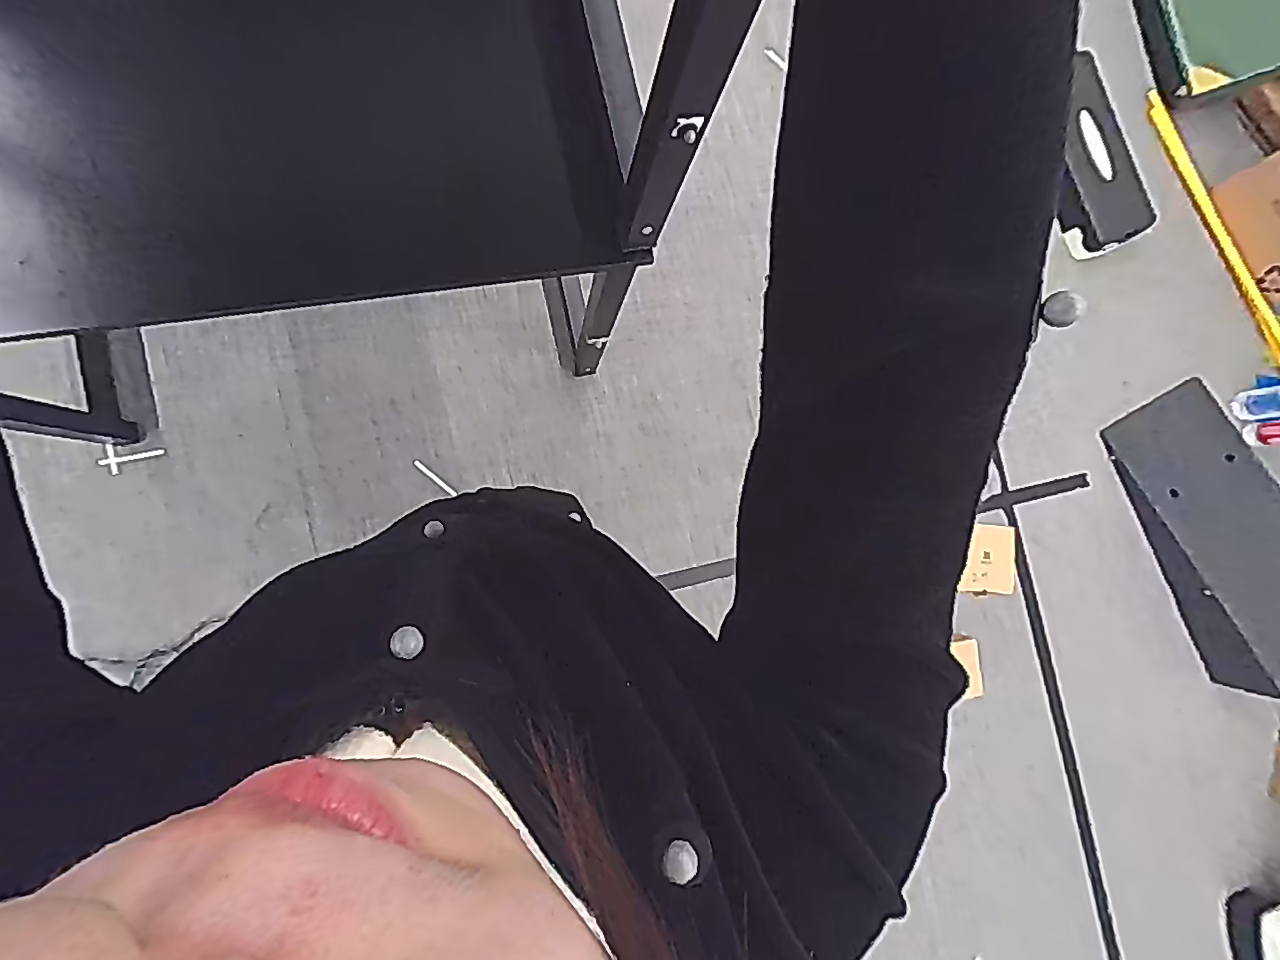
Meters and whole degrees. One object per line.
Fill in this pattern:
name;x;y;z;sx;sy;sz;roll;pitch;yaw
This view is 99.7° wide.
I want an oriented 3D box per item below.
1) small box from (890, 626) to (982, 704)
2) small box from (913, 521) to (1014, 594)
small box;0.866;0.542;1.601;0.179;0.176;0.168;-6;89;-12
small box;0.859;0.202;1.447;0.168;0.176;0.179;6;85;-10
